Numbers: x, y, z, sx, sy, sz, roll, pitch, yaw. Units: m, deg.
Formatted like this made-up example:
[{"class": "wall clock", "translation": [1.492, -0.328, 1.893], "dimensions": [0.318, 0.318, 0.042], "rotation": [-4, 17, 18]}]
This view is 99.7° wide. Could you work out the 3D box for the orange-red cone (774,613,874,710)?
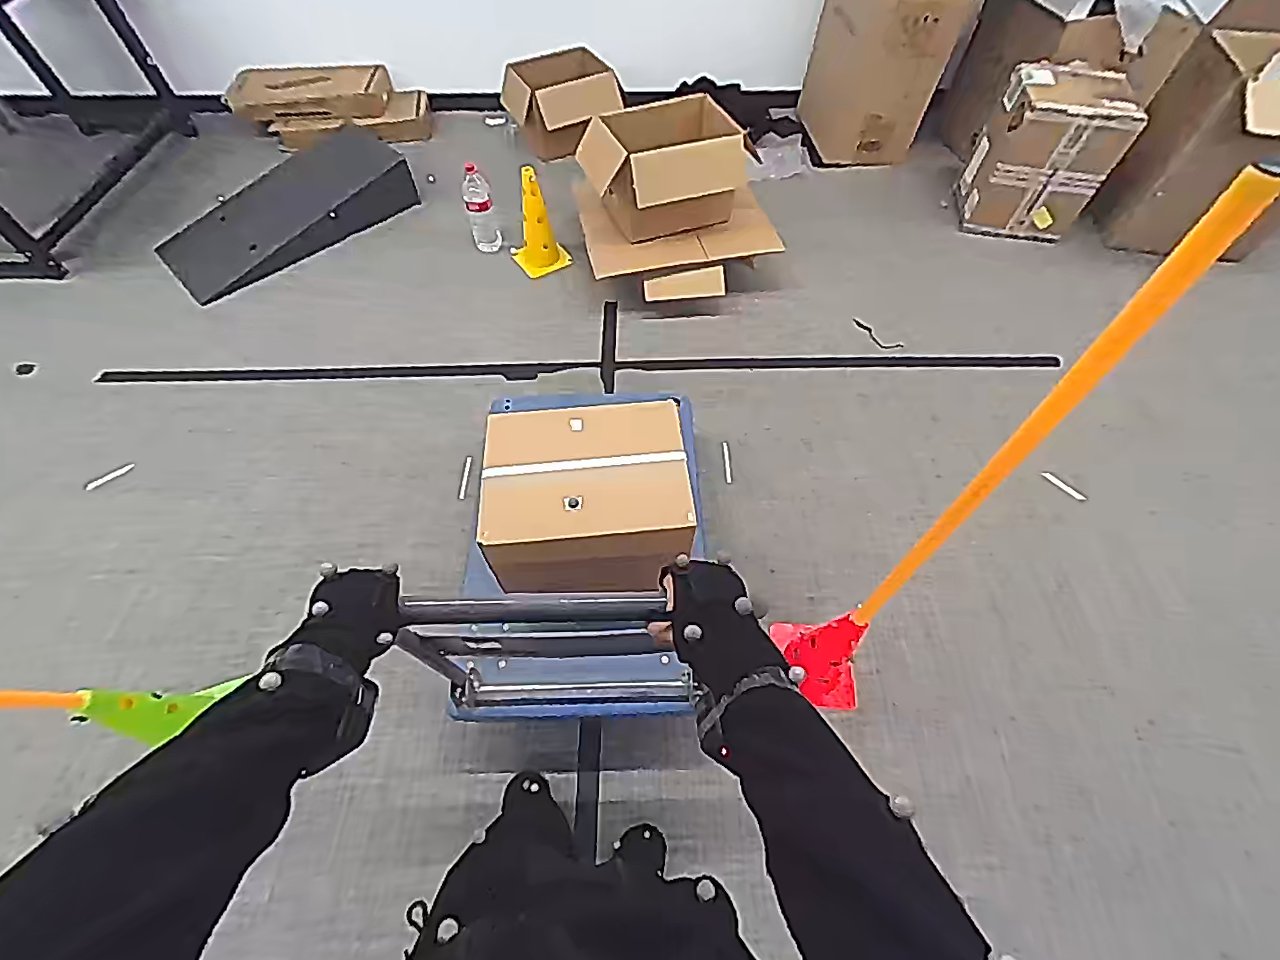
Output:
[{"class": "orange-red cone", "translation": [0.434, 0.365, 1.190], "dimensions": [0.199, 0.360, 0.198], "rotation": [6, 58, 2]}]
